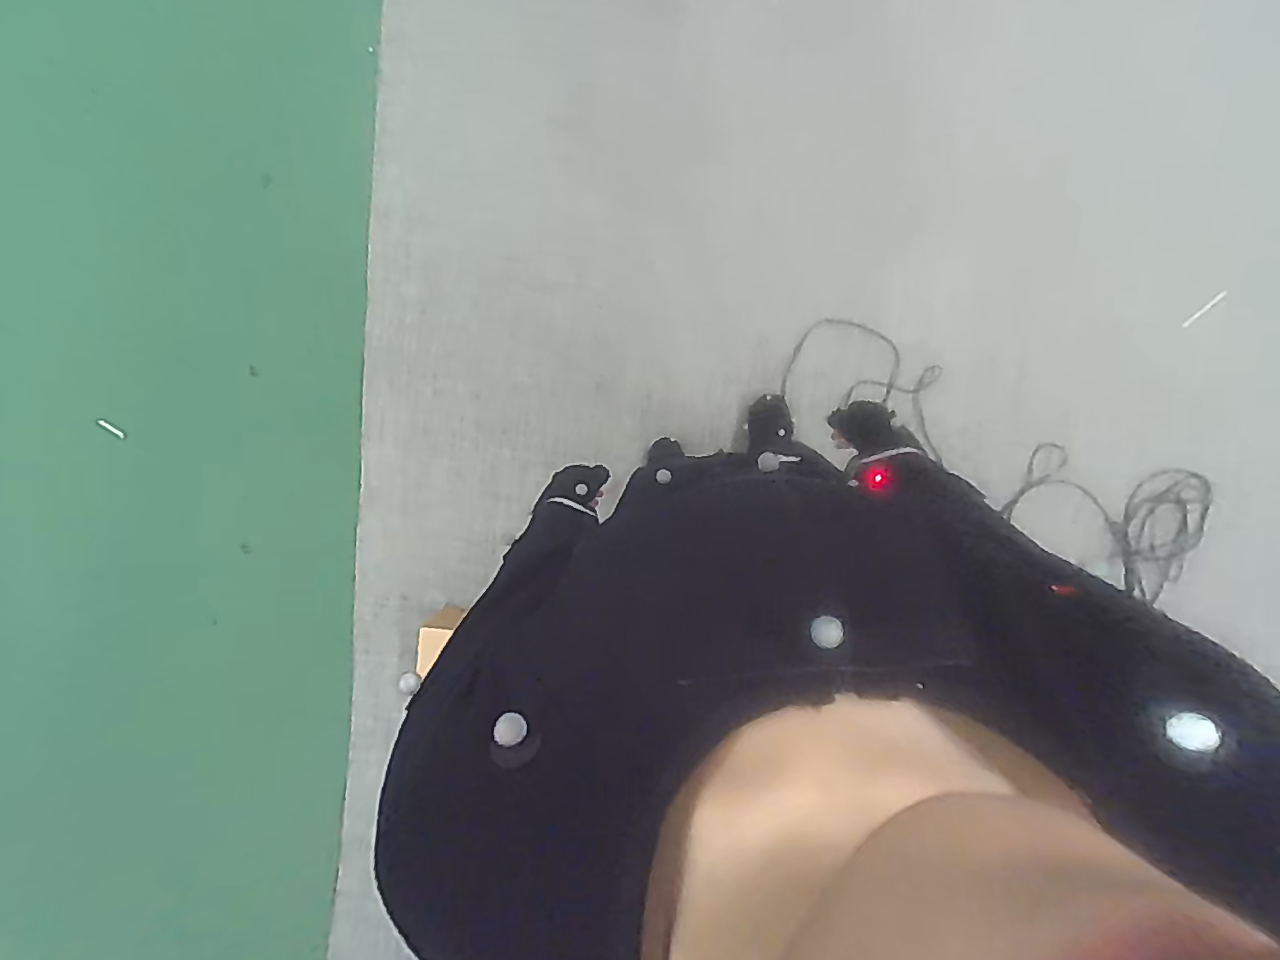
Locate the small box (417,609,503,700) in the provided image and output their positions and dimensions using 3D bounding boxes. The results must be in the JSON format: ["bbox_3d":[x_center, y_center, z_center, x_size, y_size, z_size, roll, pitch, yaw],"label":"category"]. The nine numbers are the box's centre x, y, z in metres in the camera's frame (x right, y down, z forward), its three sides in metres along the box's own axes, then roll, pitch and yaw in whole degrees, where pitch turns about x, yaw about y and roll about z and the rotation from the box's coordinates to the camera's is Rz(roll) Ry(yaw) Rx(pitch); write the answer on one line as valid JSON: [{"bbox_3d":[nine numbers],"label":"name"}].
[{"bbox_3d":[-0.472,0.457,1.440,0.168,0.176,0.179,6,95,1],"label":"small box"}]
